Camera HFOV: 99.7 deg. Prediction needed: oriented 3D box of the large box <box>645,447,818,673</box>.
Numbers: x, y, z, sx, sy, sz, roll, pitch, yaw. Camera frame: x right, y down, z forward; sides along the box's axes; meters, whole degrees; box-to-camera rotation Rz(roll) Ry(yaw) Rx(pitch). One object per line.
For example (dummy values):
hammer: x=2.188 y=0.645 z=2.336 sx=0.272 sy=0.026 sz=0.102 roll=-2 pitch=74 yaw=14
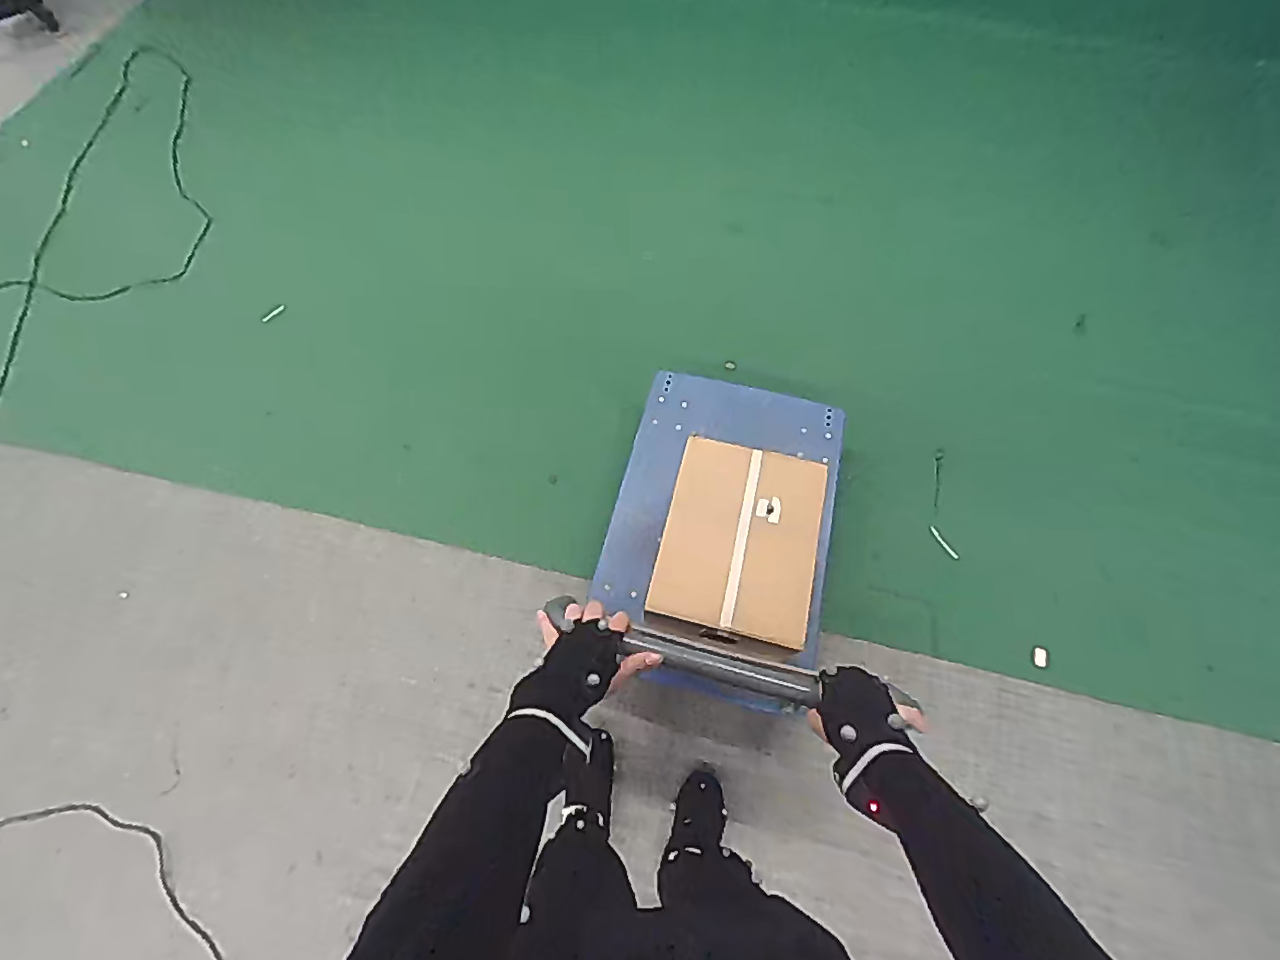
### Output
large box: x=0.201 y=0.194 z=1.255 sx=0.320 sy=0.320 sz=0.408 roll=13 pitch=64 yaw=6
